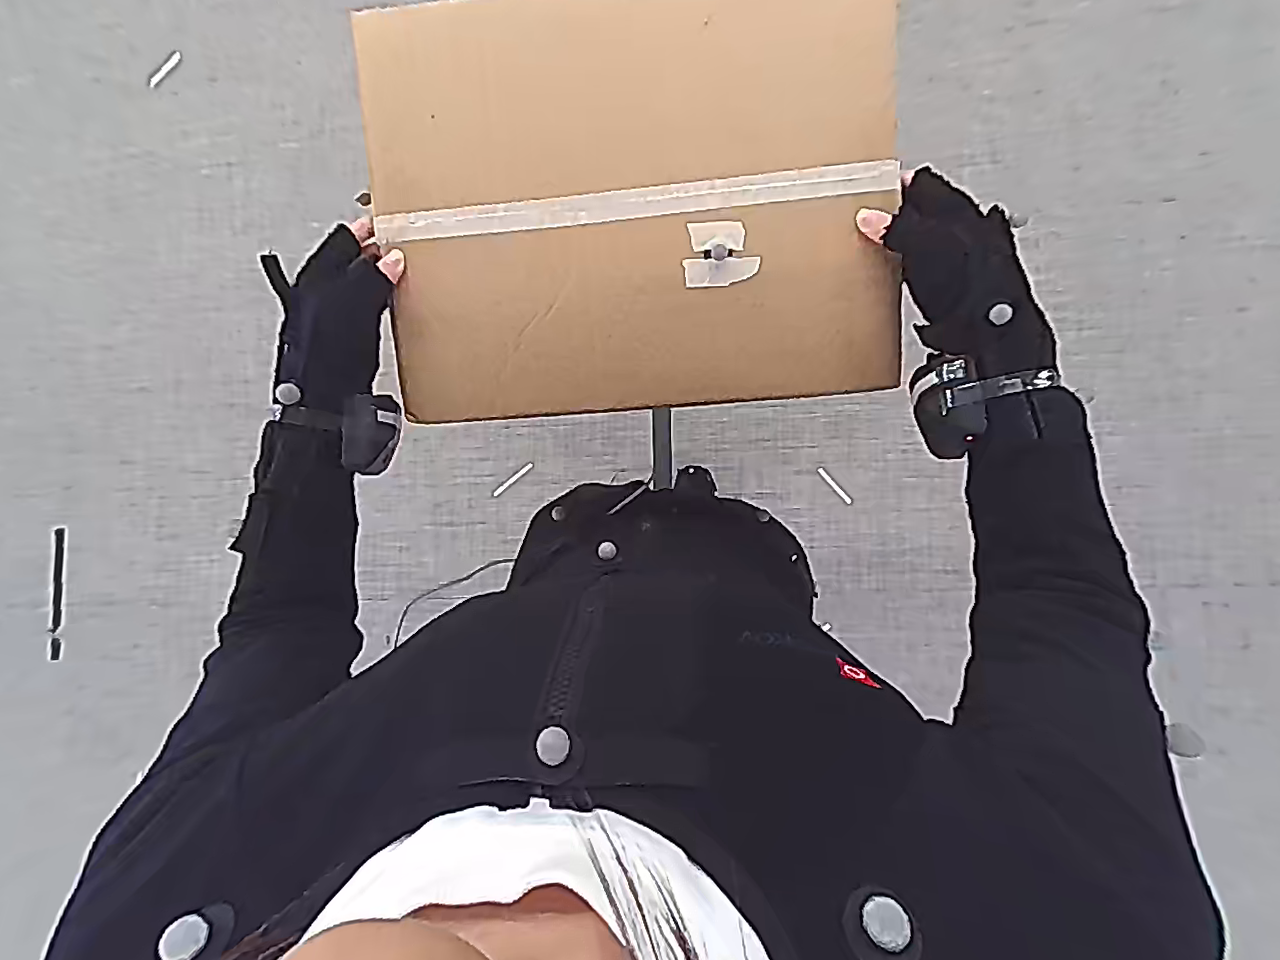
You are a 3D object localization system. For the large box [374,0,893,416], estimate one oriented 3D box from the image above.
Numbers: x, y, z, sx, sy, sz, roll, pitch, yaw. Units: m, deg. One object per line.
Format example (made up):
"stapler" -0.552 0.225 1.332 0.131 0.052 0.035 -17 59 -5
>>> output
"large box" 0.005 -0.244 0.581 0.408 0.320 0.320 -4 99 4
